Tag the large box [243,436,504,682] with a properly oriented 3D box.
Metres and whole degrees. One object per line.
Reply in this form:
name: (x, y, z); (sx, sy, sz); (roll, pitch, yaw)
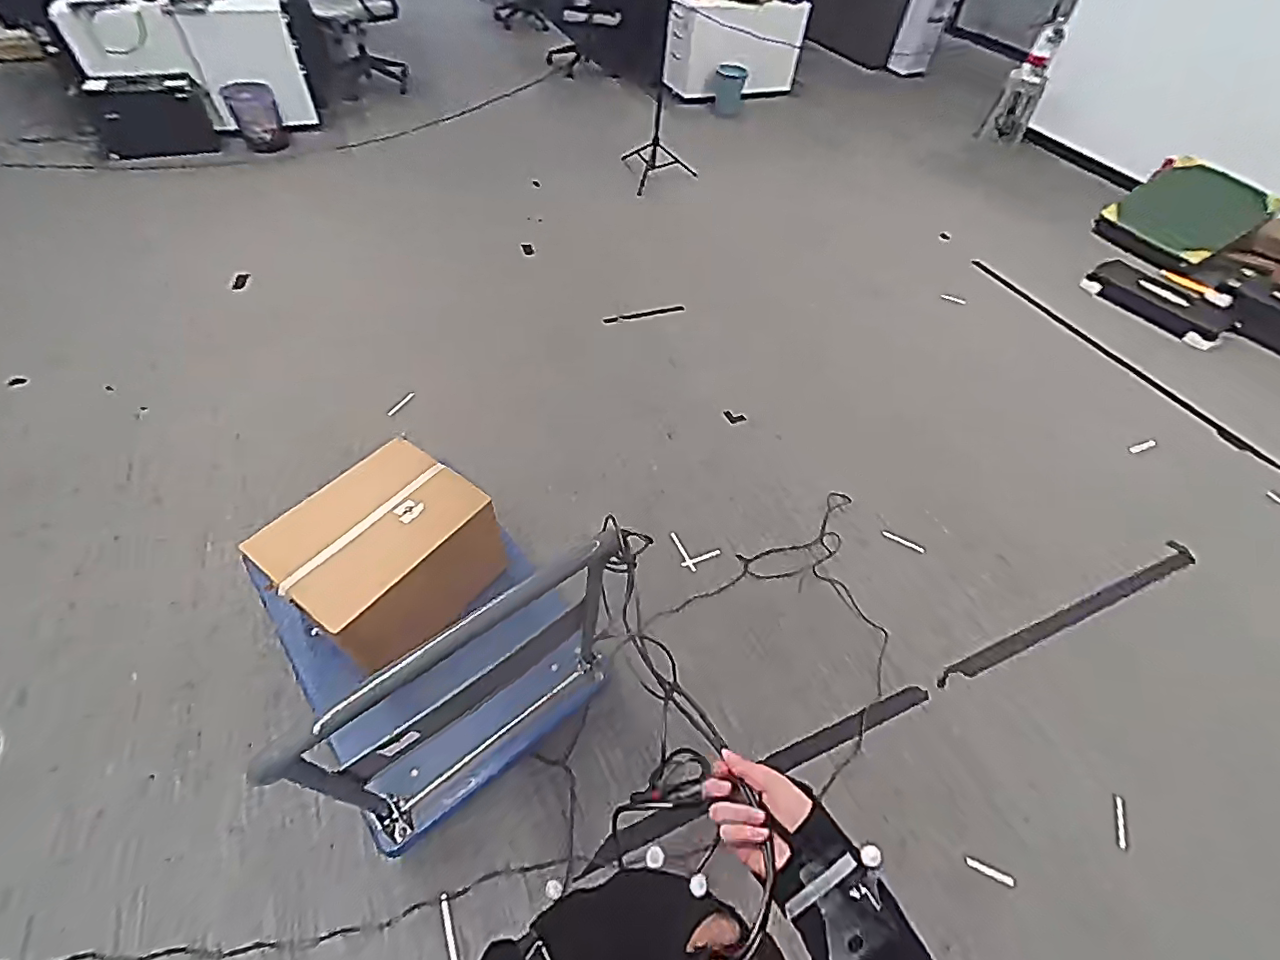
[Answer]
large box: (-0.583, 0.180, 1.267); (0.320, 0.320, 0.408); (32, 55, 18)
